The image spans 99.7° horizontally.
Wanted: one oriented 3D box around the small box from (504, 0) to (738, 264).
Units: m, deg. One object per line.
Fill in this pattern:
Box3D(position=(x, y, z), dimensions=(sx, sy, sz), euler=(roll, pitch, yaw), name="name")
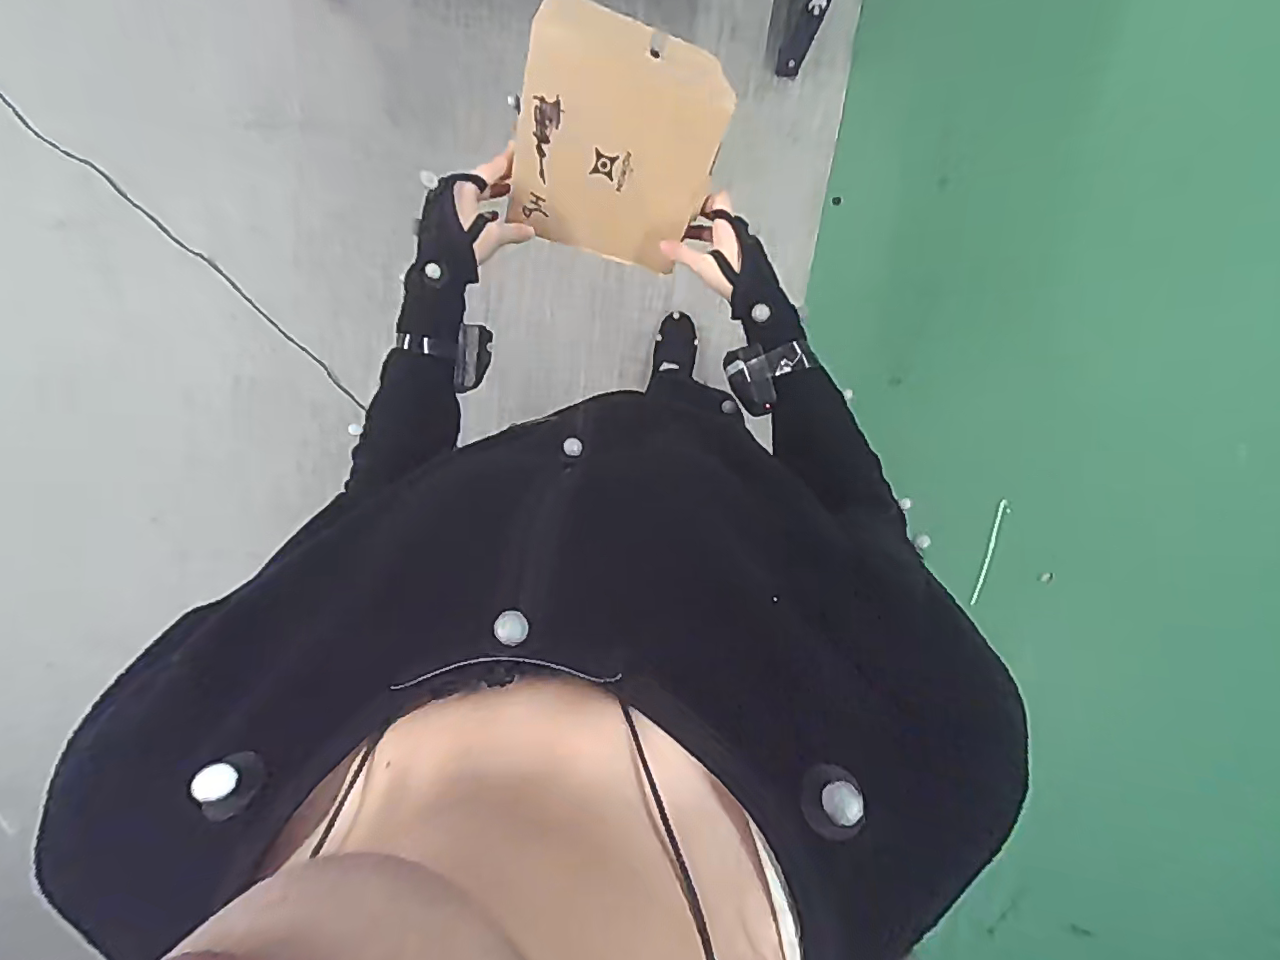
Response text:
Box3D(position=(-0.026, -0.349, 0.533), dimensions=(0.179, 0.176, 0.168), euler=(11, 137, -14), name="small box")
